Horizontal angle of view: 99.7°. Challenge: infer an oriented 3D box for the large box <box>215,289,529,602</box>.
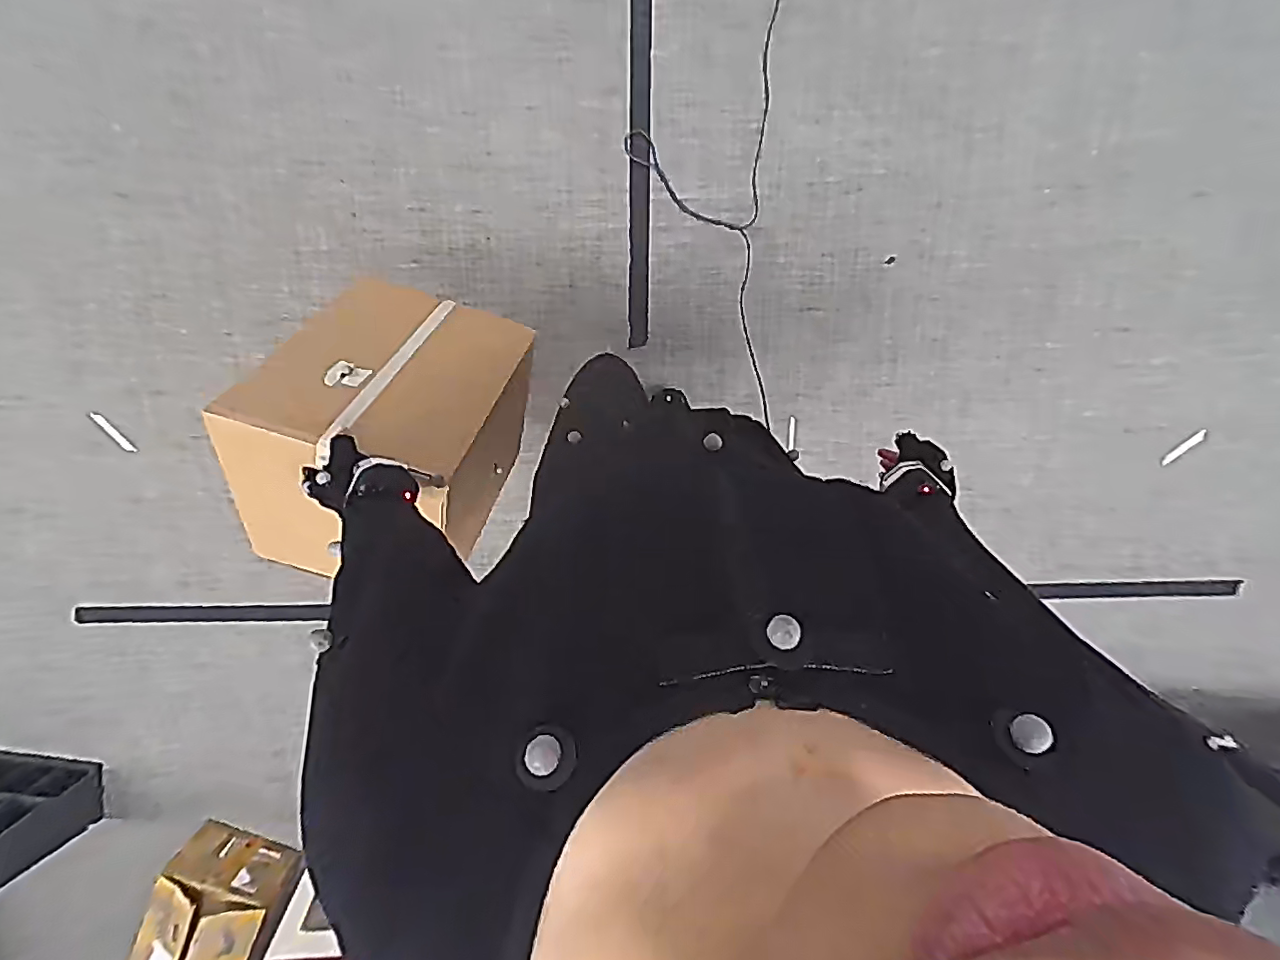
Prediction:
[{"bbox_3d":[-0.409,-0.065,0.941,0.320,0.408,0.320,16,135,-3],"label":"large box"}]
